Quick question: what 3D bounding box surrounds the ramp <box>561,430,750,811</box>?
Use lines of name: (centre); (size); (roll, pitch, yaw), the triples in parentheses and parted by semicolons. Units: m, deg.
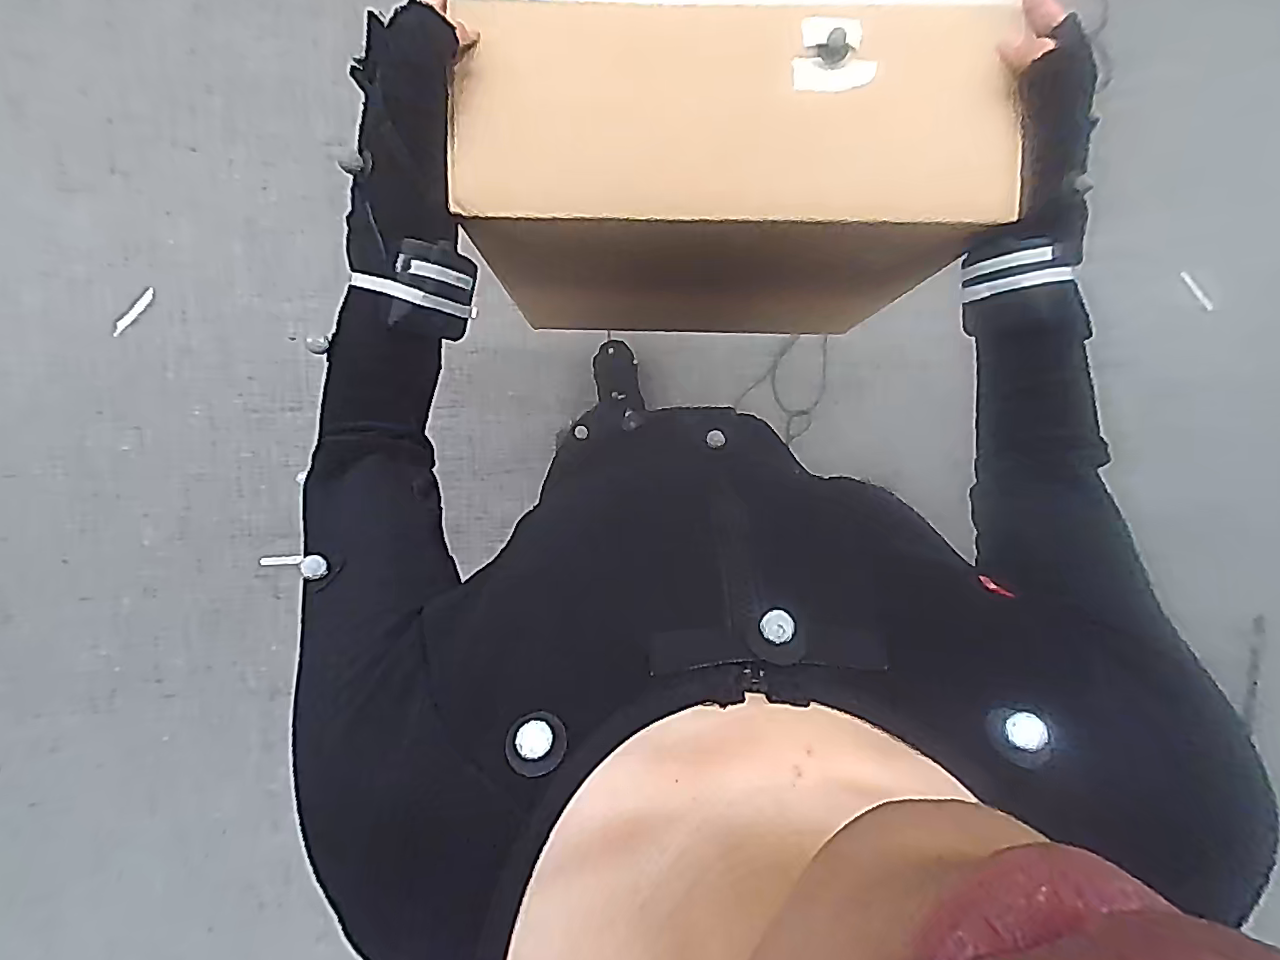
ramp: (0.031, 0.360, 1.459); (0.509, 0.206, 0.991); (-3, 94, 1)

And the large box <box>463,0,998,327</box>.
large box: (0.063, -0.351, 0.548); (0.408, 0.320, 0.320); (0, 91, -1)
